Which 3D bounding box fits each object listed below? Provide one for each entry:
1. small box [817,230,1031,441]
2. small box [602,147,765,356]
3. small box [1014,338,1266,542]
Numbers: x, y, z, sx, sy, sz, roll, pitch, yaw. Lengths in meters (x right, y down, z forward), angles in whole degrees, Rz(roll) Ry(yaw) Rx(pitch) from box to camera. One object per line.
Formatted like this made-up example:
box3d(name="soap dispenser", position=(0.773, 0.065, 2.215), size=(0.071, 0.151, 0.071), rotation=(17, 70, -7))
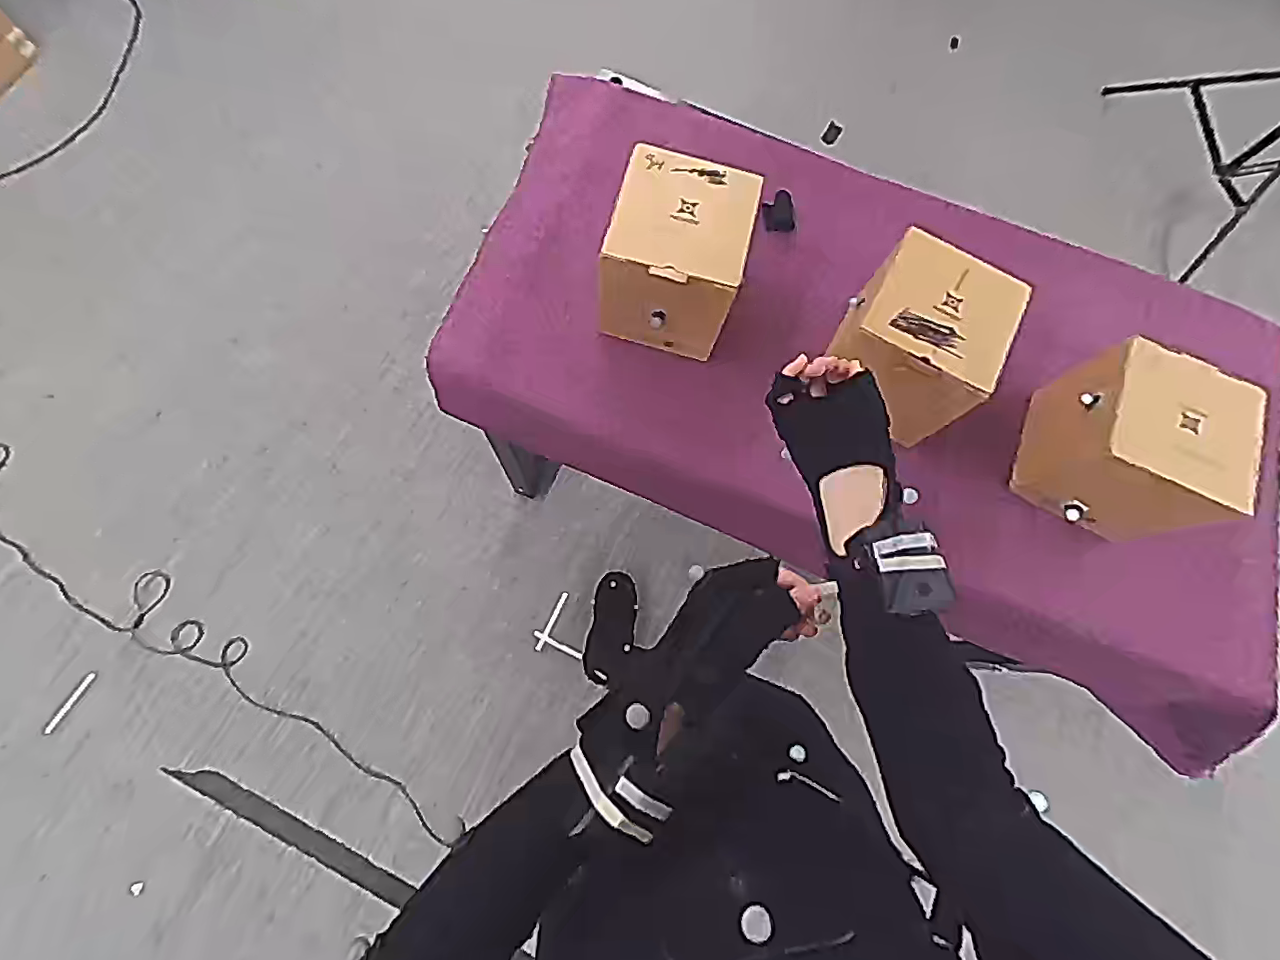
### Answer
box3d(name="small box", position=(0.360, -0.179, 0.717), size=(0.168, 0.176, 0.179), rotation=(30, 72, 5))
box3d(name="small box", position=(0.051, -0.293, 0.725), size=(0.168, 0.176, 0.179), rotation=(15, 73, -1))
box3d(name="small box", position=(0.629, -0.042, 0.700), size=(0.168, 0.176, 0.179), rotation=(25, 73, 5))
